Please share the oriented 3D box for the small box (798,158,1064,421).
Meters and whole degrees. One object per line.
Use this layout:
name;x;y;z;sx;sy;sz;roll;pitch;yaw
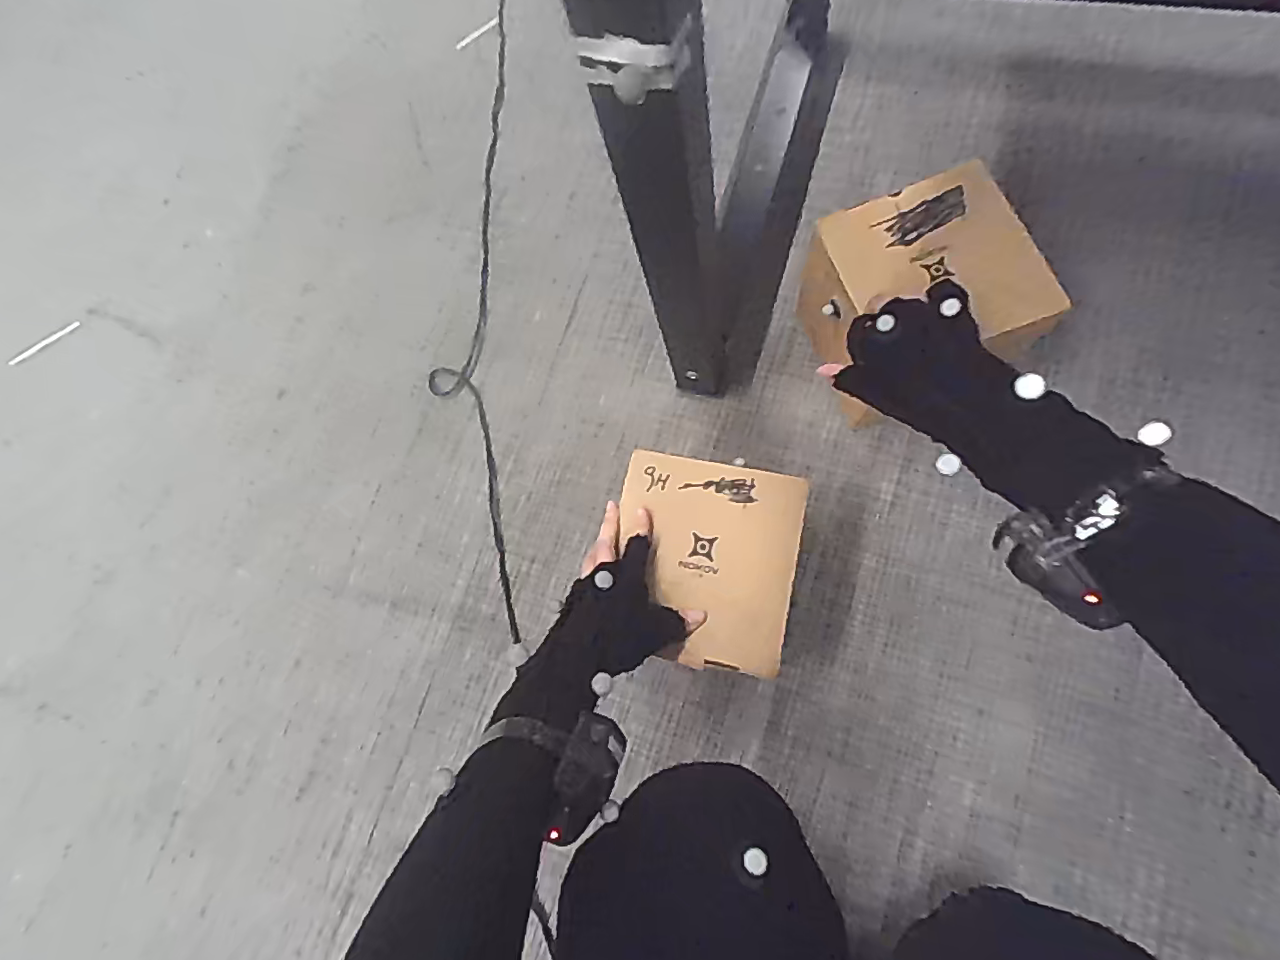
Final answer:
small box;0.284;-0.188;0.580;0.168;0.176;0.179;-21;75;4
